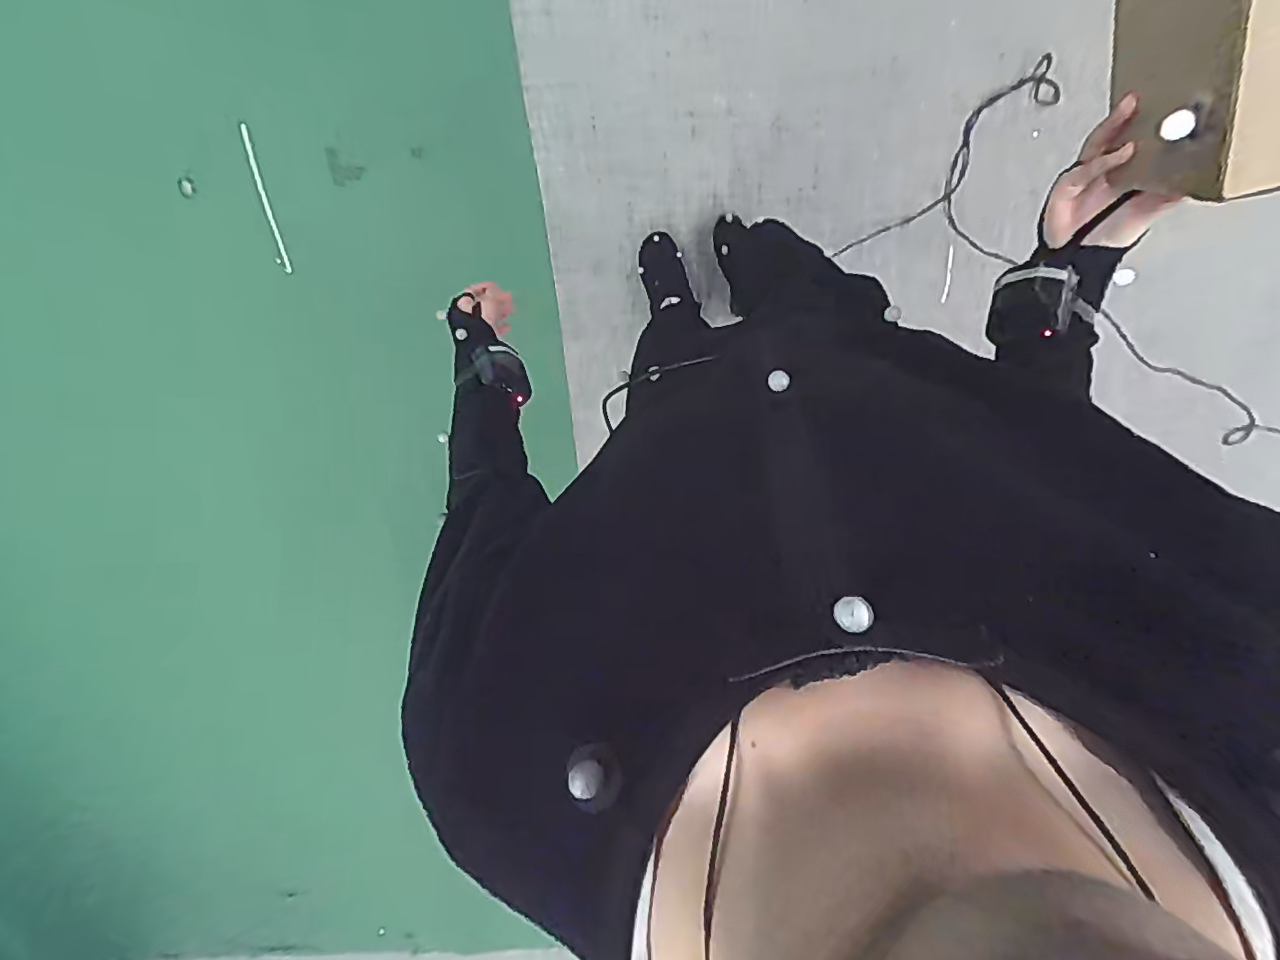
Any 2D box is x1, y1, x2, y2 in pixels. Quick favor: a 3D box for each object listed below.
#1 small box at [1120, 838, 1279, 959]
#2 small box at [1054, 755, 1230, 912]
[{"bbox_3d":[0.927,0.706,0.850,0.179,0.176,0.168,-37,110,17],"label":"small box"},{"bbox_3d":[0.926,0.649,1.006,0.179,0.176,0.168,-26,113,11],"label":"small box"}]
